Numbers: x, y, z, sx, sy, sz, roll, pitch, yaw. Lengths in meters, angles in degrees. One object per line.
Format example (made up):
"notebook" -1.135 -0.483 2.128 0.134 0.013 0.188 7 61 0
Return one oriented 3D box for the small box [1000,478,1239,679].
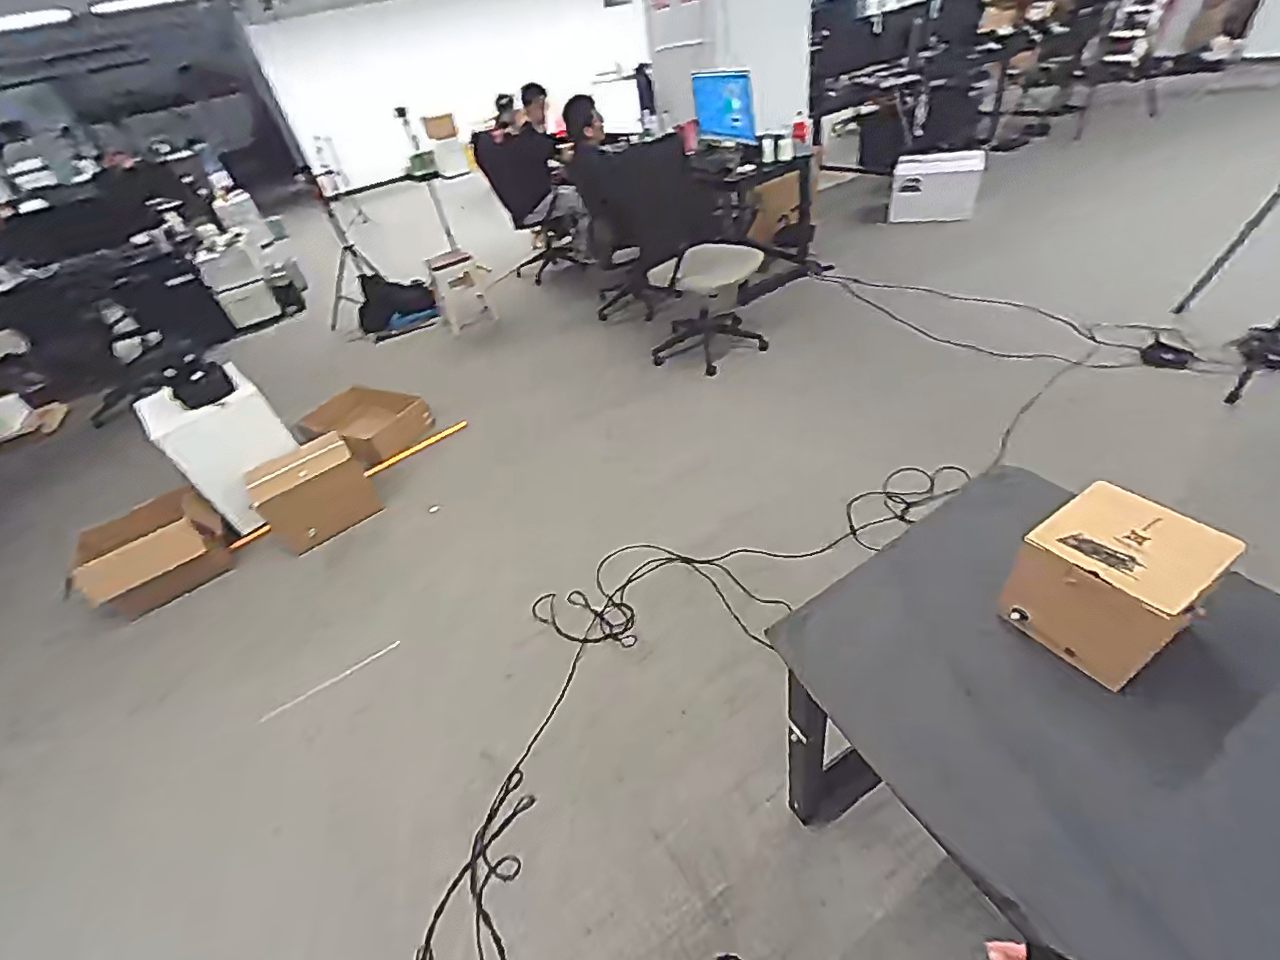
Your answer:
"small box" 0.631 0.134 0.738 0.179 0.176 0.168 -28 42 -18
